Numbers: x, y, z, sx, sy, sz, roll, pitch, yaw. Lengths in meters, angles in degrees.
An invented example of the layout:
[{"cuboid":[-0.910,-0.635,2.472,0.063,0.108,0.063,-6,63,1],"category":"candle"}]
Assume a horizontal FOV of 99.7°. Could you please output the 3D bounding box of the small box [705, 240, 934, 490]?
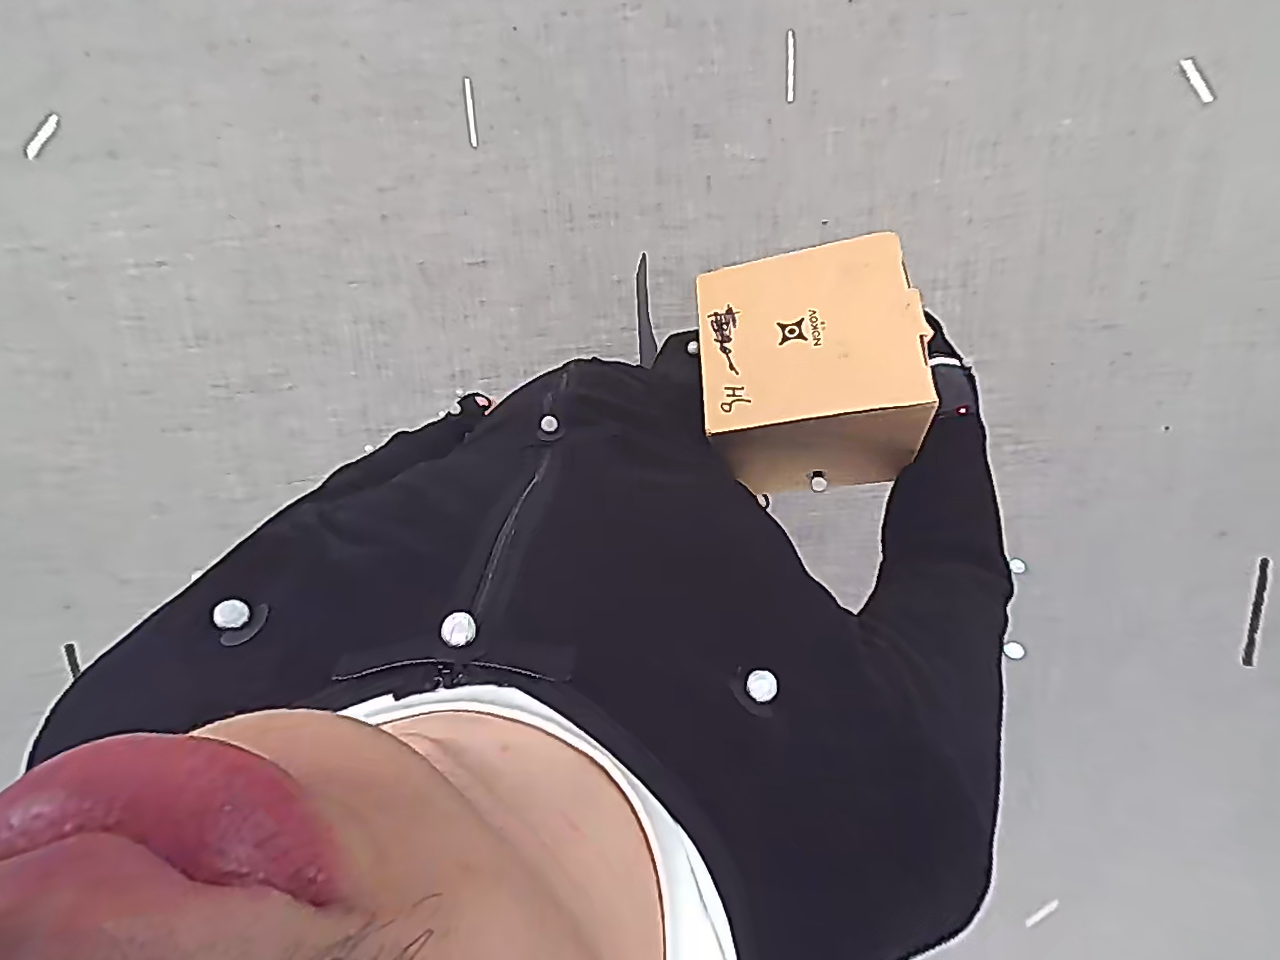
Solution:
[{"cuboid":[0.165,-0.098,0.537,0.179,0.176,0.168,-6,67,15],"category":"small box"}]
